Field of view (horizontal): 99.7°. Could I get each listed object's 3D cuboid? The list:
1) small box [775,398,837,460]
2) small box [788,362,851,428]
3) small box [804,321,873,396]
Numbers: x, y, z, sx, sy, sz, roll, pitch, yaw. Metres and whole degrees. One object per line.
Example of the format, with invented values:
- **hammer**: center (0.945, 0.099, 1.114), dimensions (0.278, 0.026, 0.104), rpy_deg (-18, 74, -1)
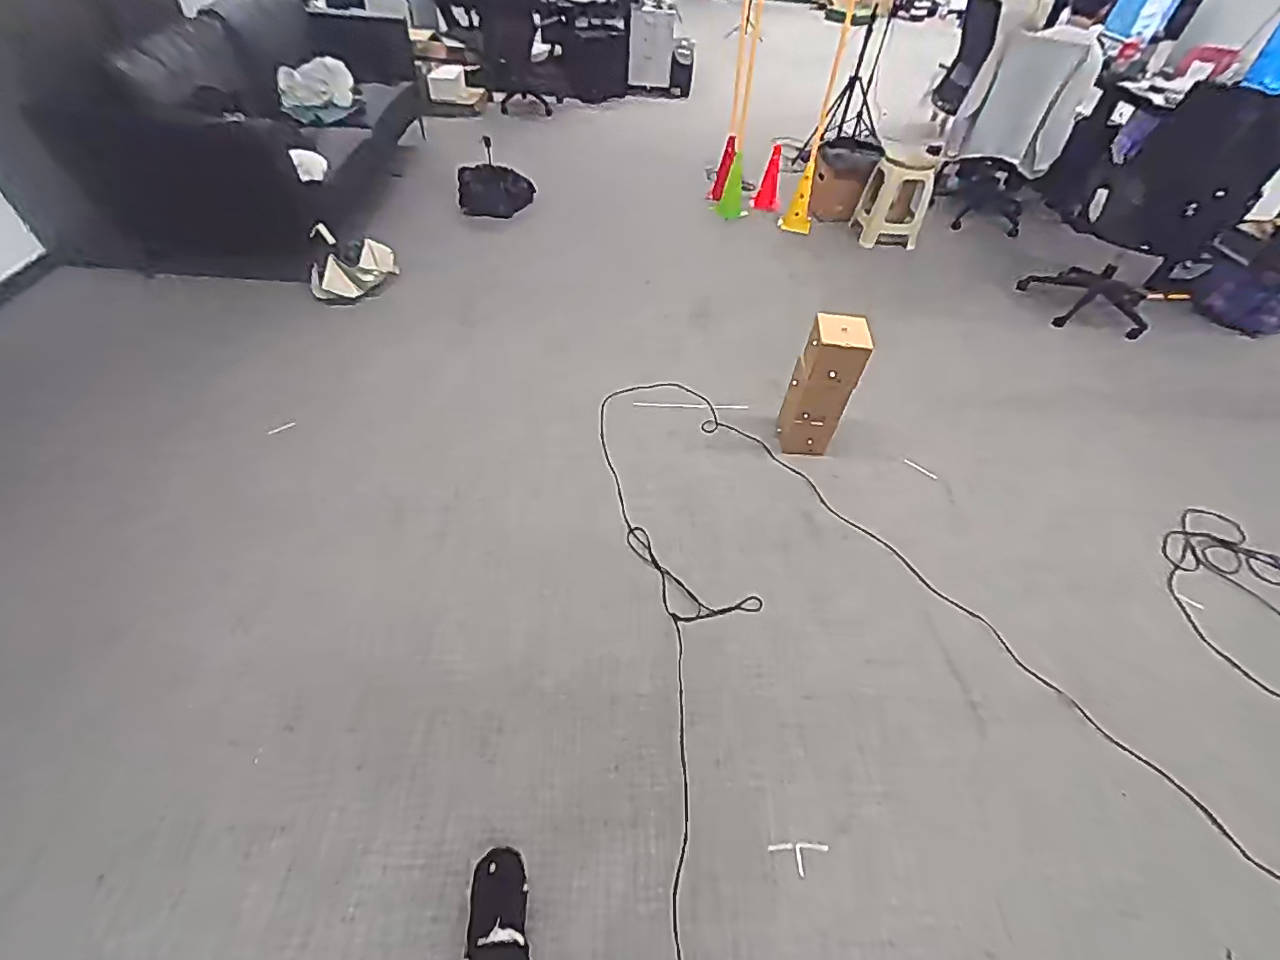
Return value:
- **small box**: center (0.630, -0.192, 2.075), dimensions (0.168, 0.176, 0.179), rpy_deg (3, 50, -6)
- **small box**: center (0.645, -0.305, 1.953), dimensions (0.168, 0.176, 0.179), rpy_deg (4, 48, -1)
- **small box**: center (0.663, -0.410, 1.830), dimensions (0.168, 0.176, 0.179), rpy_deg (8, 49, 2)
